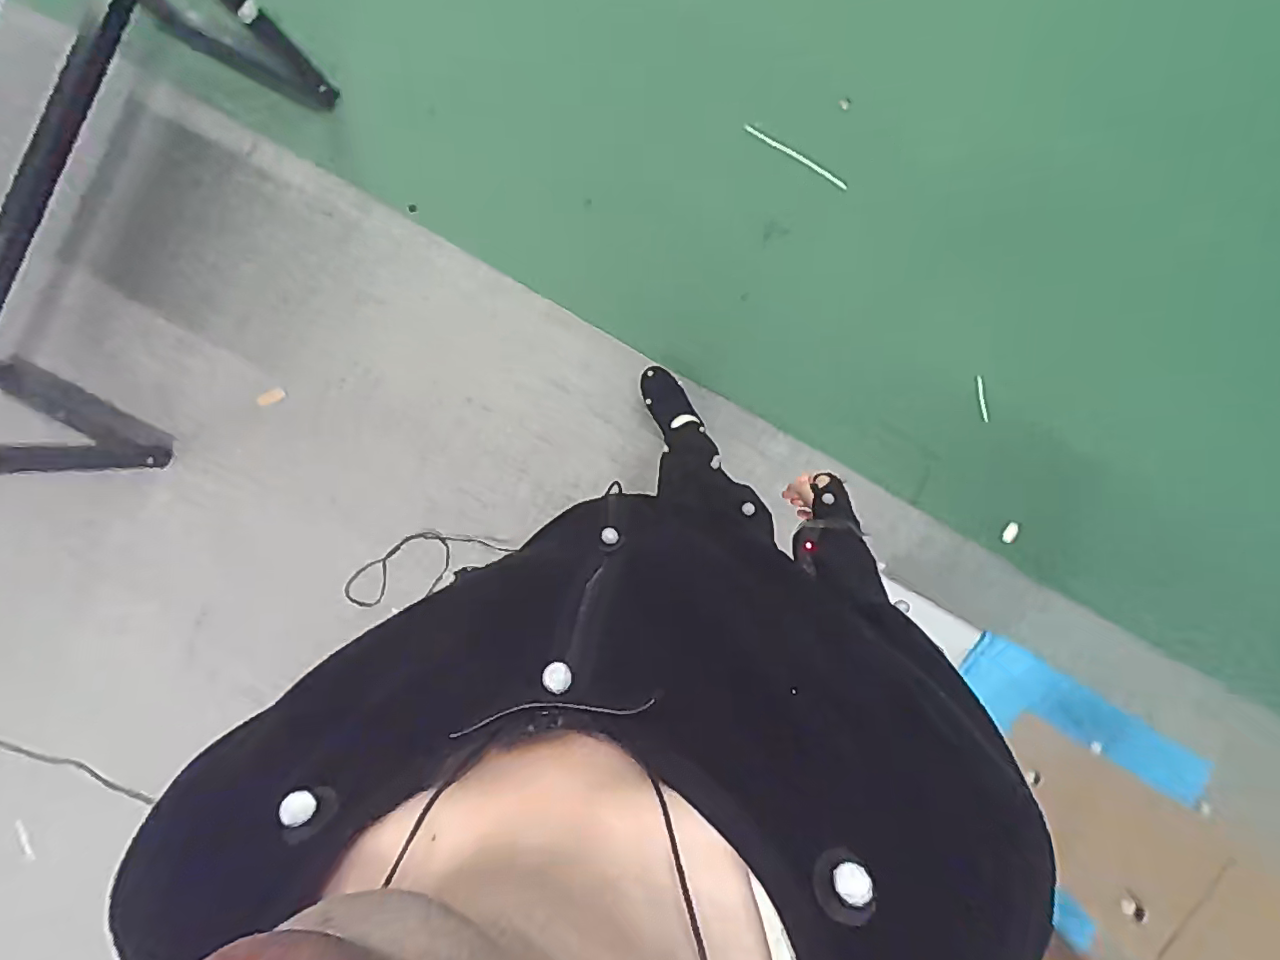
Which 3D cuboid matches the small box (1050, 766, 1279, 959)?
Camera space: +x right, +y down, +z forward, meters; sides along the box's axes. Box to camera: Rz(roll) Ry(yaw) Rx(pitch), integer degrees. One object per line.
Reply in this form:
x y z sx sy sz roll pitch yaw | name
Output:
0.659 0.502 0.662 0.168 0.176 0.179 31 94 -1 | small box

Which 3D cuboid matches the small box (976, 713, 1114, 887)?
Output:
0.659 0.501 0.826 0.168 0.176 0.179 31 93 -1 | small box
